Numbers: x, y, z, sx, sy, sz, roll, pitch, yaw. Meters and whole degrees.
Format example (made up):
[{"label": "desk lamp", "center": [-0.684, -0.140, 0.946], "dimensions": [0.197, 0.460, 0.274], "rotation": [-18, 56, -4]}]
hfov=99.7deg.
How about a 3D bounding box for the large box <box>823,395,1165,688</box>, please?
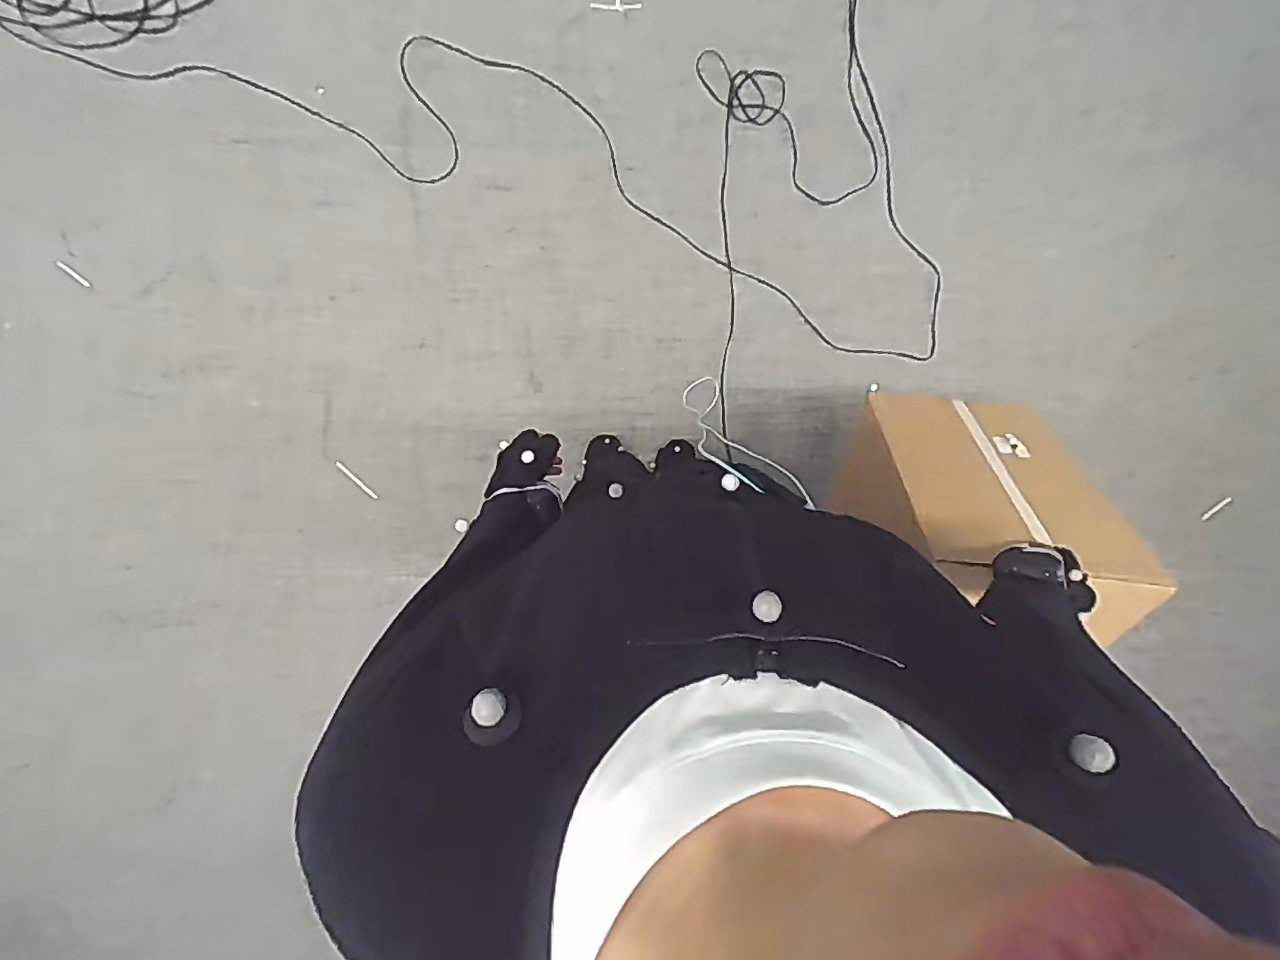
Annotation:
[{"label": "large box", "center": [0.542, 0.099, 0.949], "dimensions": [0.320, 0.408, 0.320], "rotation": [6, 132, 1]}]
